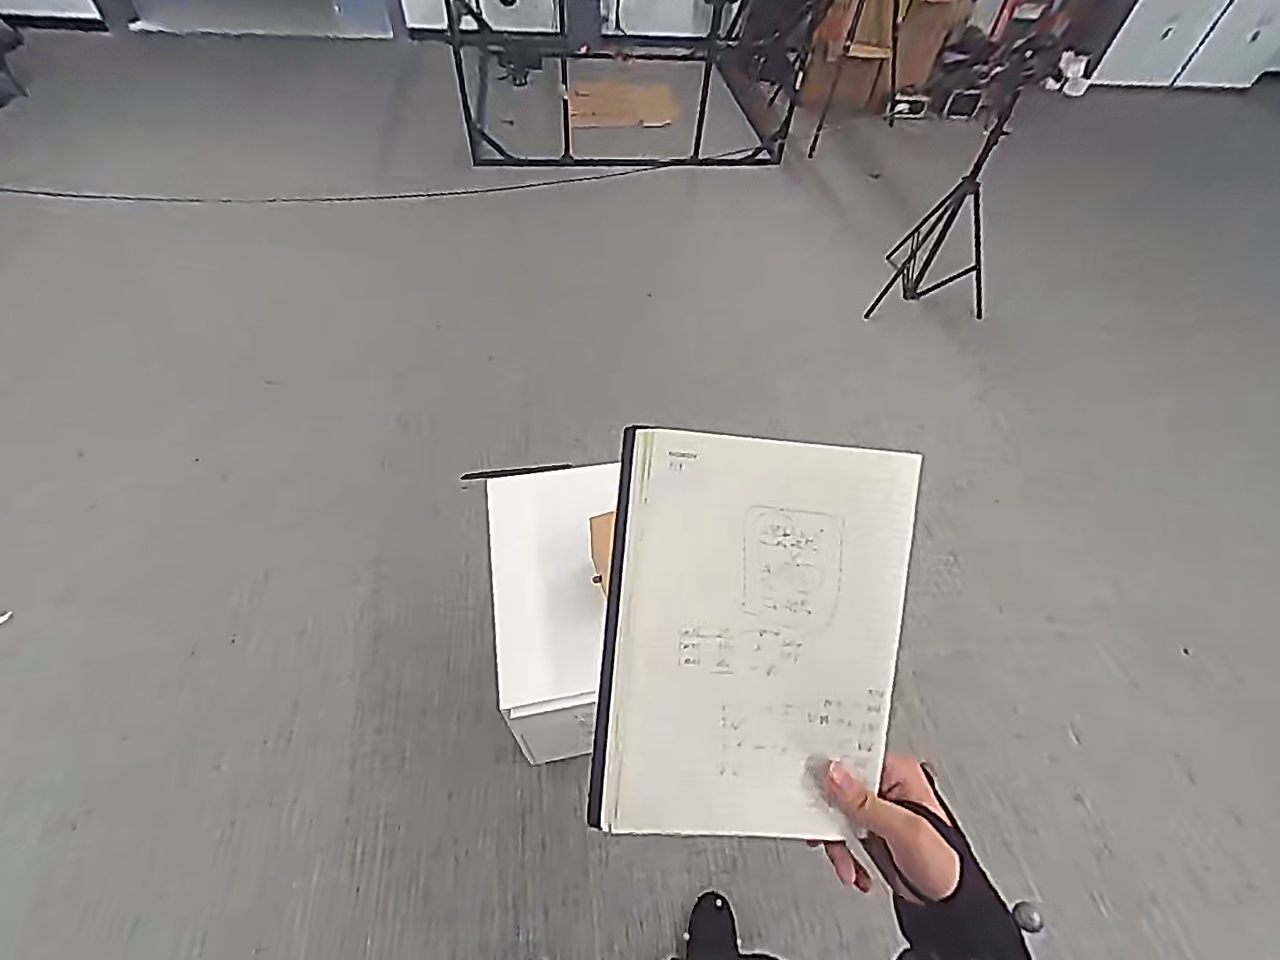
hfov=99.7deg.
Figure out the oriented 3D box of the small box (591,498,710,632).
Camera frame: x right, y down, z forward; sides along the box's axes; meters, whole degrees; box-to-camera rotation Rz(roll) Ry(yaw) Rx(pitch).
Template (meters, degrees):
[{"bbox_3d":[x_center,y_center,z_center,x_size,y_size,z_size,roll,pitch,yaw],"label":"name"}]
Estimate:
[{"bbox_3d":[0.012,0.165,1.036,0.179,0.176,0.168,-16,55,-14],"label":"small box"}]
